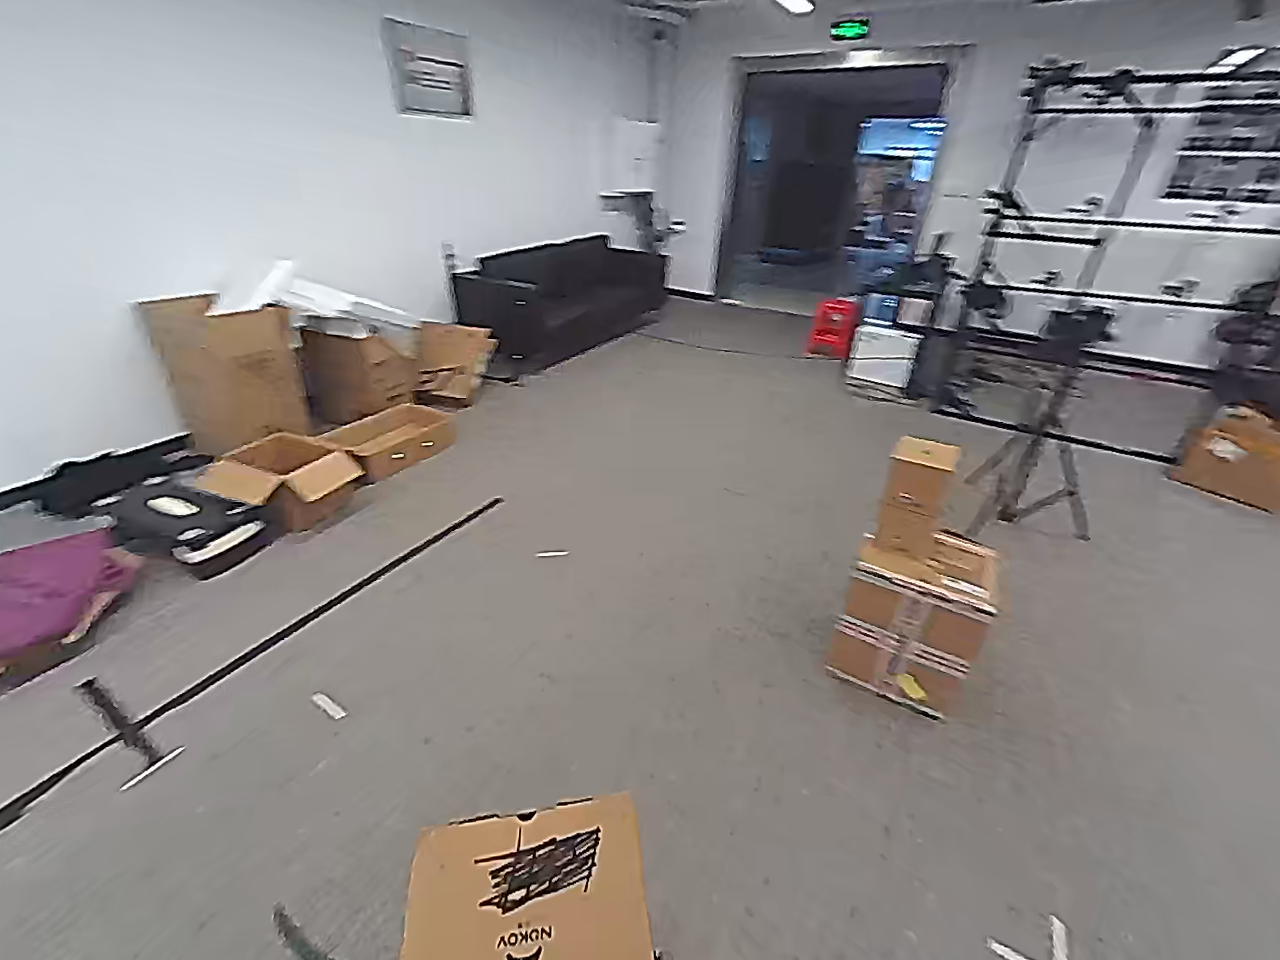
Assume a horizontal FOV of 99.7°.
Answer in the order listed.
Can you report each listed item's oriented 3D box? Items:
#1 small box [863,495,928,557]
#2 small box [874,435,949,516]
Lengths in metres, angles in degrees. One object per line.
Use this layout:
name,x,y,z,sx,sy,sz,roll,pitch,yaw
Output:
small box,0.847,0.122,1.776,0.168,0.176,0.179,17,35,27
small box,0.847,-0.016,1.690,0.168,0.176,0.179,16,35,27
